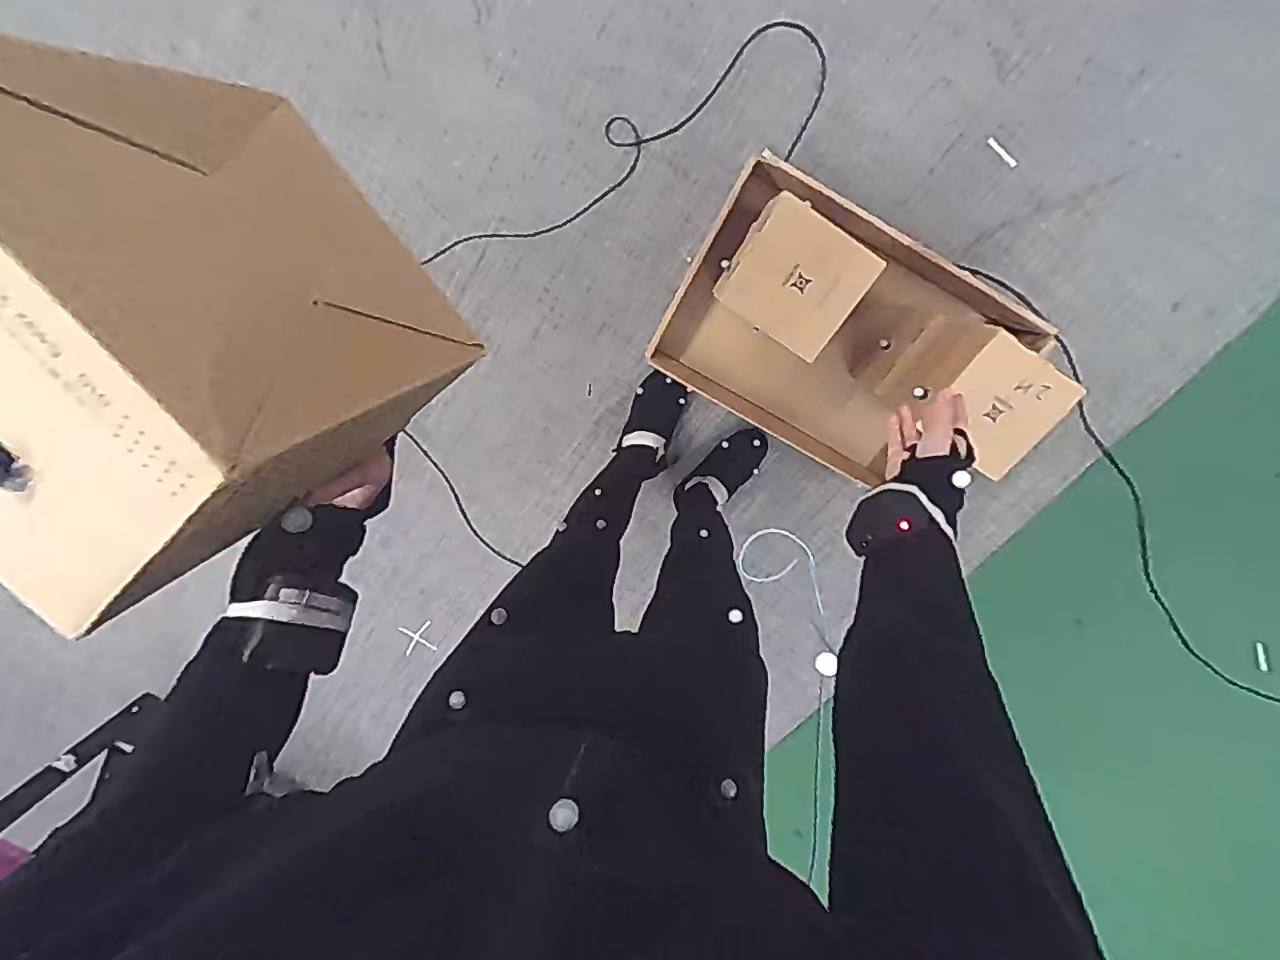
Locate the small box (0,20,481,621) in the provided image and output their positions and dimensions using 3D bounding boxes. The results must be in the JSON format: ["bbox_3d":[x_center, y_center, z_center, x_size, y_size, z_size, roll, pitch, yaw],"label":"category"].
[{"bbox_3d":[-0.217,-0.072,0.260,0.176,0.179,0.168,-31,104,28],"label":"small box"}]

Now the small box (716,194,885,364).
[{"bbox_3d":[0.231,-0.306,0.836,0.179,0.176,0.168,33,112,-8],"label":"small box"}]

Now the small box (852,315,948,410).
[{"bbox_3d":[0.534,-0.195,1.023,0.179,0.176,0.168,33,111,-6],"label":"small box"}]

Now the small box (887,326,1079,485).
[{"bbox_3d":[0.530,-0.127,0.872,0.168,0.176,0.179,32,110,-8],"label":"small box"}]
